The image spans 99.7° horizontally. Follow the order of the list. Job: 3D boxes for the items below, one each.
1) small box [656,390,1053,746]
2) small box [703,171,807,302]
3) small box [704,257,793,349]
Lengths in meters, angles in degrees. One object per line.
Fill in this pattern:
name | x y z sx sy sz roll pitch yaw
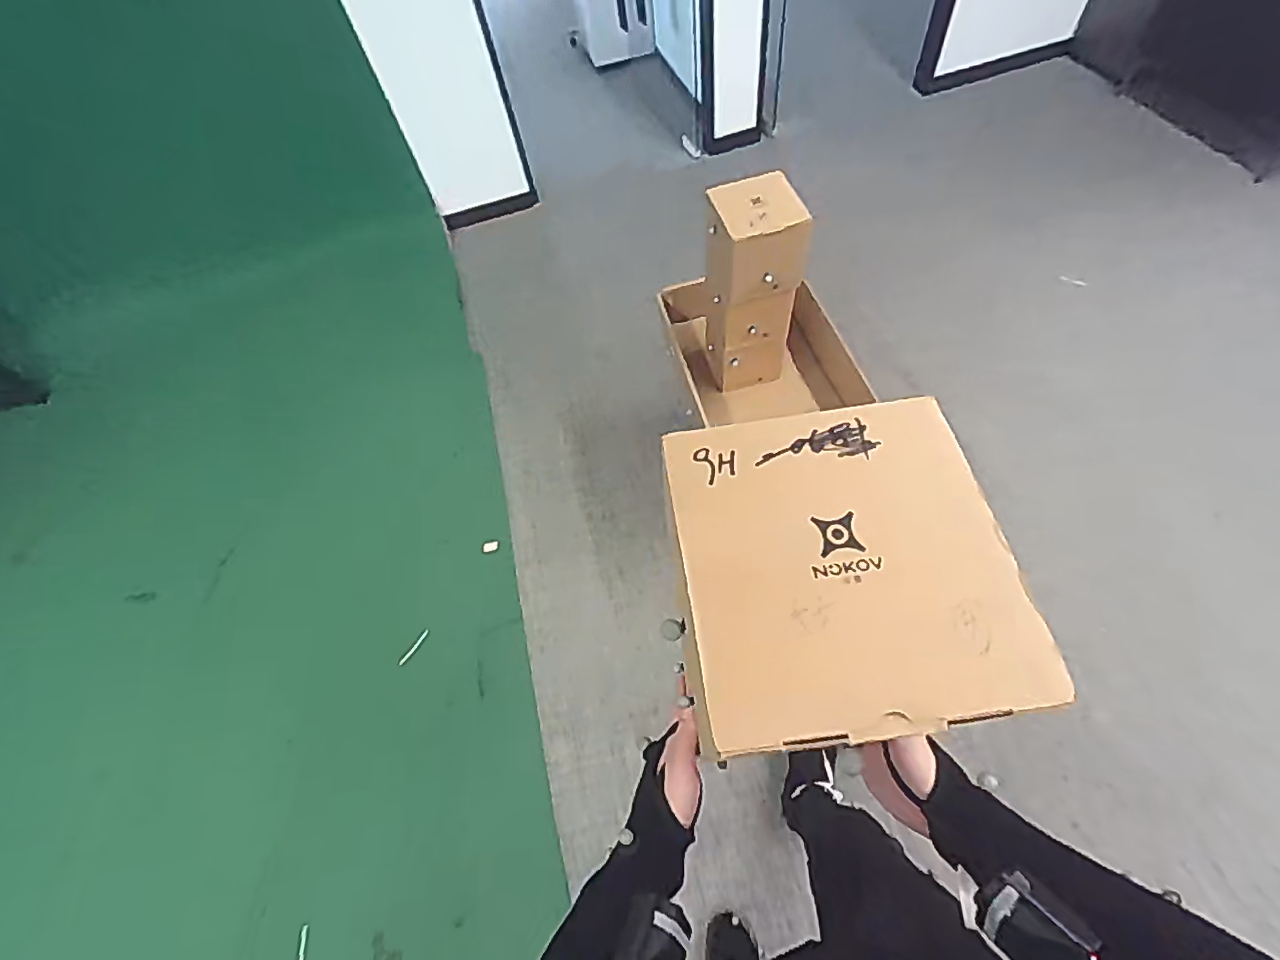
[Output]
small box | 0.107 0.070 0.356 0.168 0.176 0.179 -8 62 1
small box | 0.237 -0.518 1.162 0.168 0.176 0.179 -16 61 -1
small box | 0.254 -0.450 1.312 0.168 0.176 0.179 -15 61 -1
